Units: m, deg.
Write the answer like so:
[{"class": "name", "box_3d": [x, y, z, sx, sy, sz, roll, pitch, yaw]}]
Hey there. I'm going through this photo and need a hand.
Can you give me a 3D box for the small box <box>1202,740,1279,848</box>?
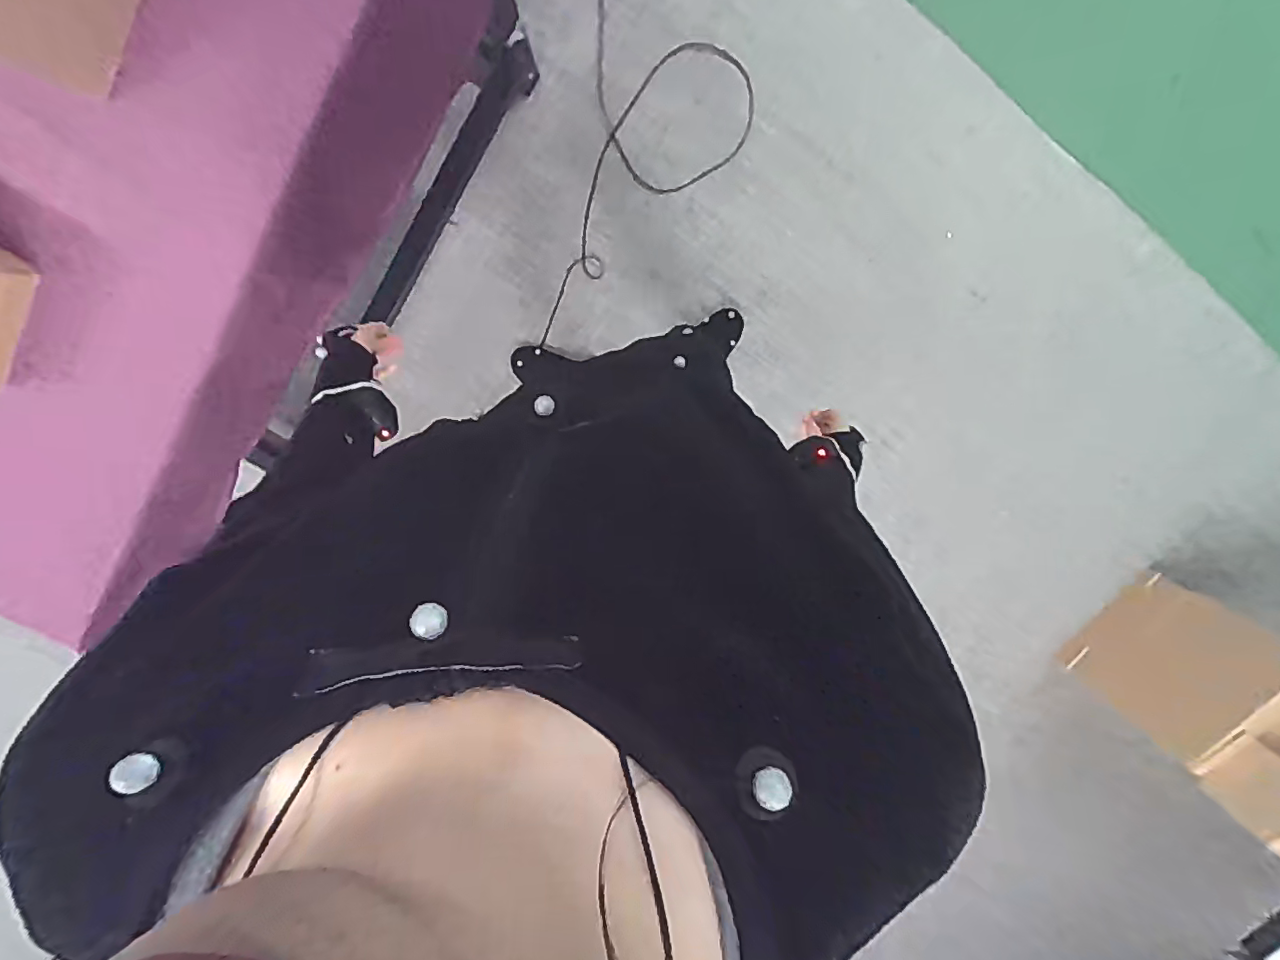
[{"class": "small box", "box_3d": [1.528, 0.764, 1.288, 0.168, 0.176, 0.179, 36, 103, -10]}]
